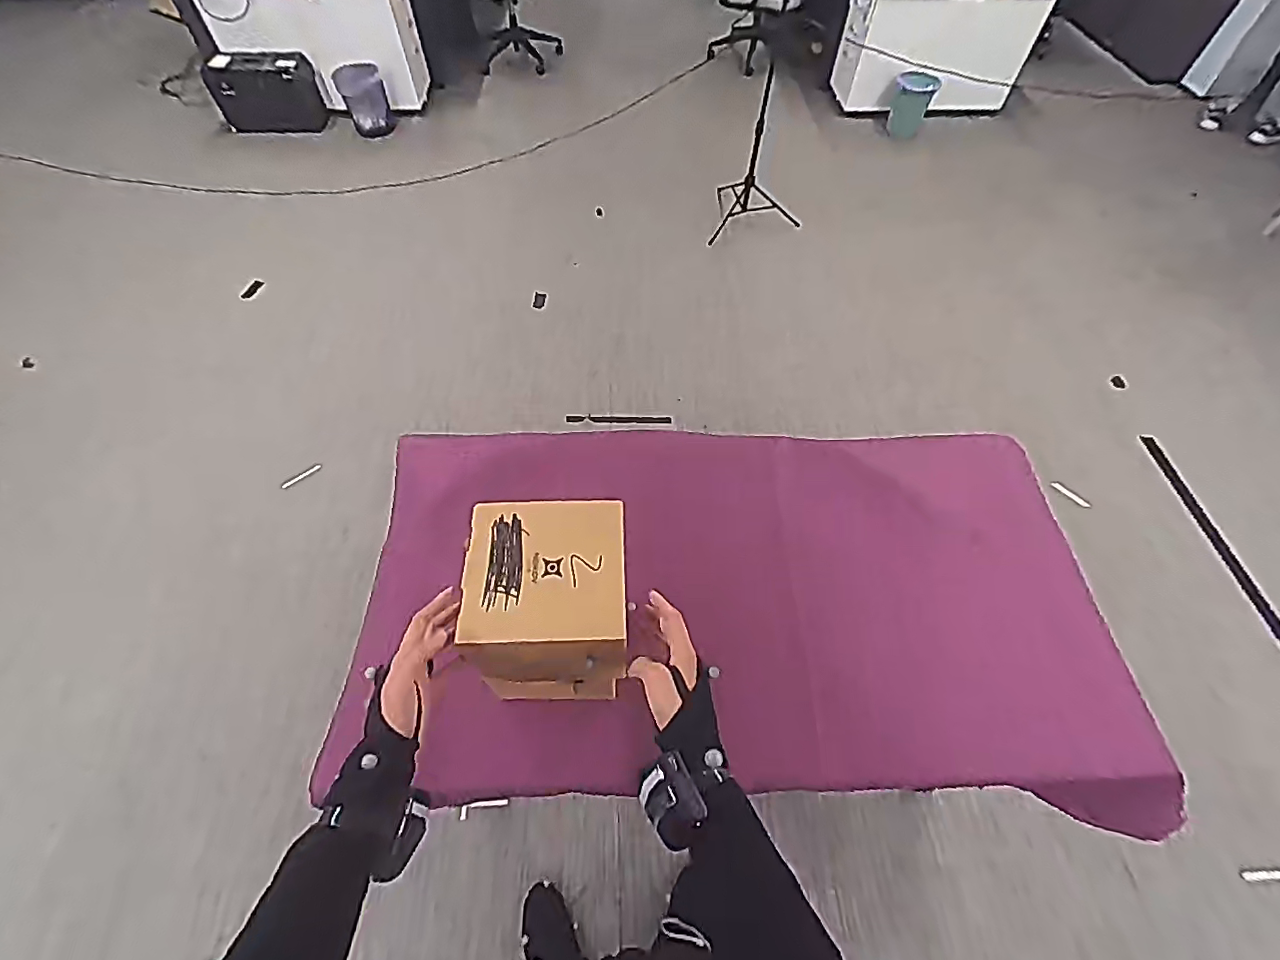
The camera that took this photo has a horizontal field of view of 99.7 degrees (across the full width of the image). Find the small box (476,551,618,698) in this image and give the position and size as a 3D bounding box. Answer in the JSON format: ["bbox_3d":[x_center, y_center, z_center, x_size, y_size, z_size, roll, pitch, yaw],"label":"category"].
[{"bbox_3d":[-0.123,0.216,0.794,0.179,0.176,0.168,1,57,-1],"label":"small box"}]
